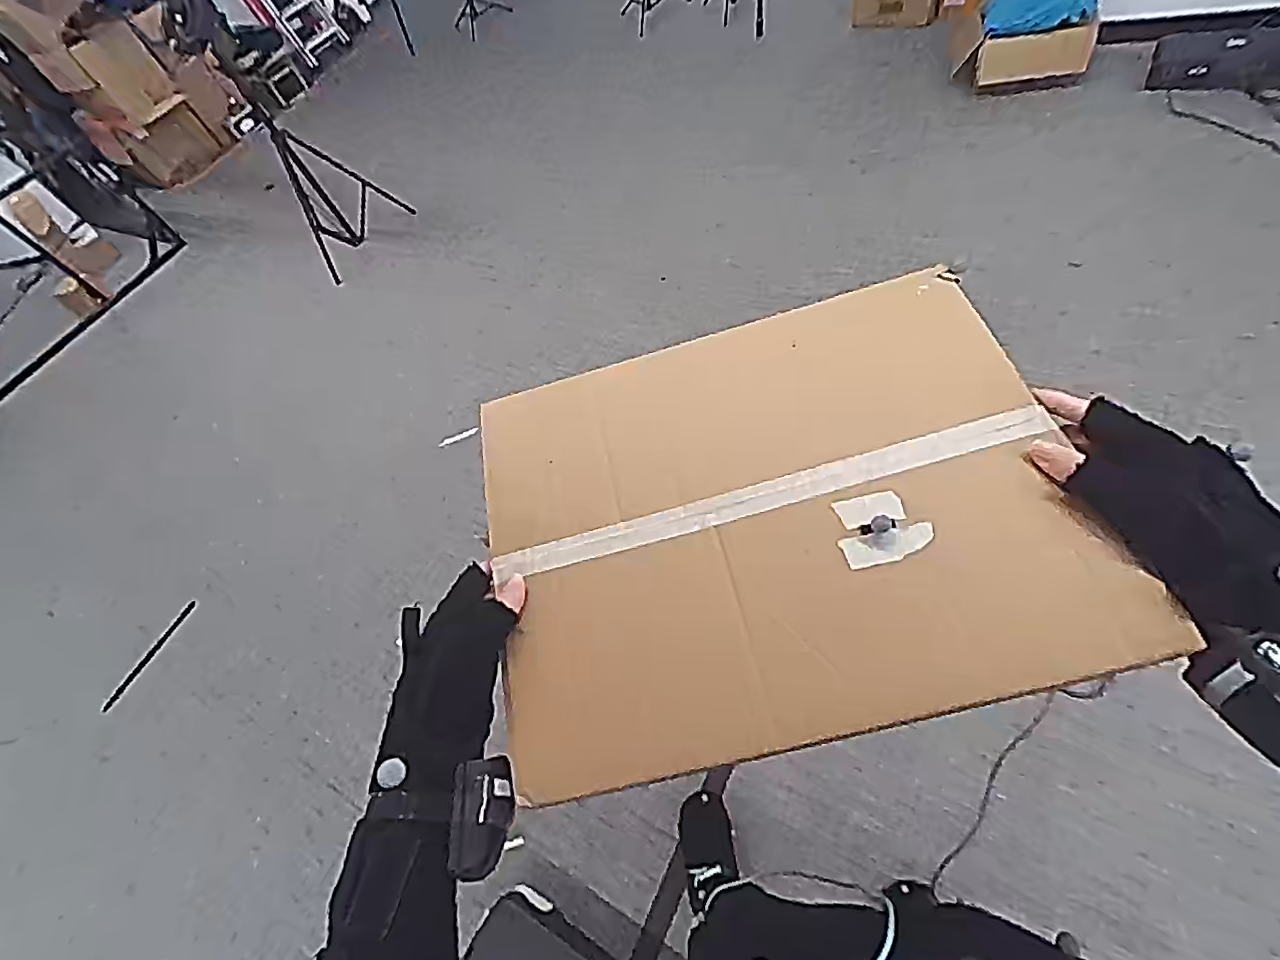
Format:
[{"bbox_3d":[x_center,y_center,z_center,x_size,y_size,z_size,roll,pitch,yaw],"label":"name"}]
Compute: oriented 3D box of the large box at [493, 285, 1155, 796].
[{"bbox_3d":[0.115,0.083,0.534,0.408,0.320,0.320,-16,63,4],"label":"large box"}]
